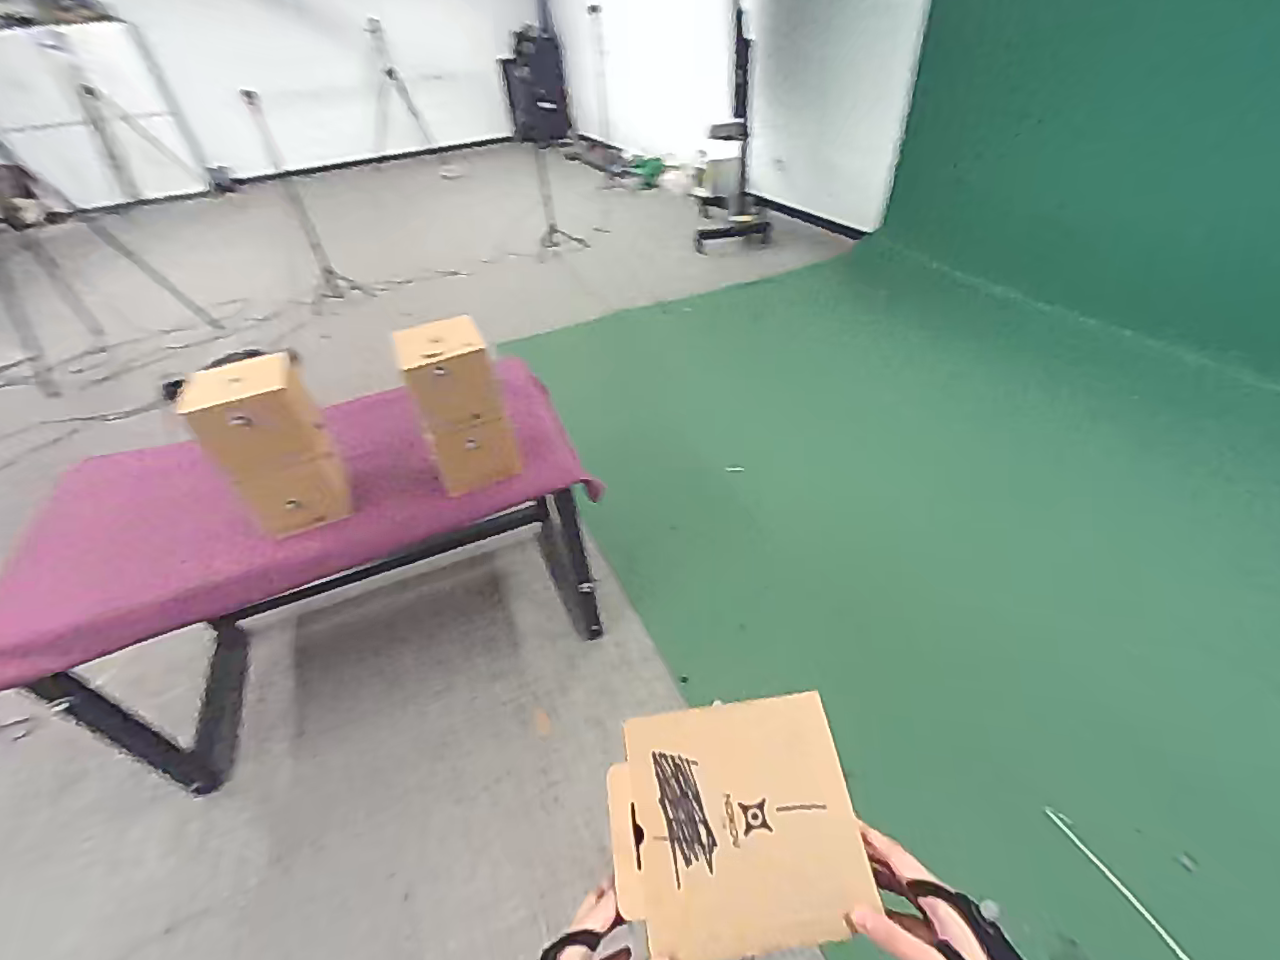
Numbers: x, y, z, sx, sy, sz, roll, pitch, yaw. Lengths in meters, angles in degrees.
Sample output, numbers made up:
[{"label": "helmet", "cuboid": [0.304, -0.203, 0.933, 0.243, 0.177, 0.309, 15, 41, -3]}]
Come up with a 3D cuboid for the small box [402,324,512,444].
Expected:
[{"label": "small box", "cuboid": [-0.390, -0.206, 1.157, 0.168, 0.176, 0.179, -22, 43, -13]}]

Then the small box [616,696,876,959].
[{"label": "small box", "cuboid": [0.077, 0.312, 0.495, 0.179, 0.176, 0.168, -7, 58, -5]}]

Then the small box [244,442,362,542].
[{"label": "small box", "cuboid": [-0.736, 0.017, 1.202, 0.168, 0.176, 0.179, -20, 41, -14]}]

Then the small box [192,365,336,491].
[{"label": "small box", "cuboid": [-0.745, -0.104, 1.094, 0.179, 0.176, 0.168, -20, 43, -15]}]

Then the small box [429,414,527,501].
[{"label": "small box", "cuboid": [-0.374, -0.081, 1.263, 0.179, 0.176, 0.168, -22, 44, -14]}]
